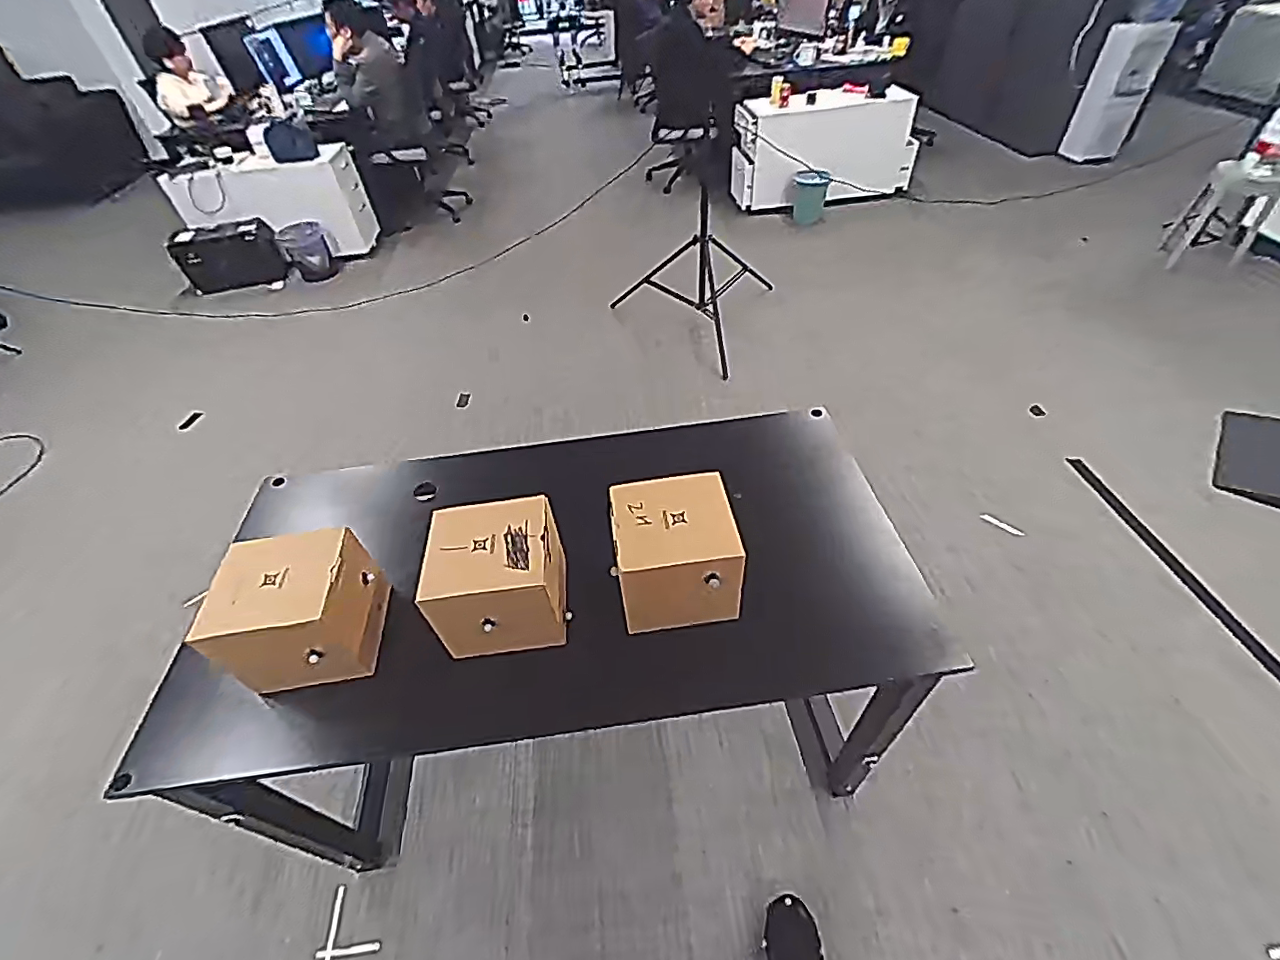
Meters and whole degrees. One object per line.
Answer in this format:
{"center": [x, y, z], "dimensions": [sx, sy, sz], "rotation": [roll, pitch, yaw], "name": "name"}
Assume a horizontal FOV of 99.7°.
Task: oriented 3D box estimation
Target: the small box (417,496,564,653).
{"center": [-0.214, 0.148, 0.835], "dimensions": [0.179, 0.176, 0.168], "rotation": [-8, 46, -1], "name": "small box"}

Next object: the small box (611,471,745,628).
{"center": [0.054, 0.111, 0.844], "dimensions": [0.179, 0.176, 0.168], "rotation": [-8, 45, -1], "name": "small box"}

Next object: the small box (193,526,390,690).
{"center": [-0.505, 0.196, 0.820], "dimensions": [0.179, 0.176, 0.168], "rotation": [-10, 45, -3], "name": "small box"}
